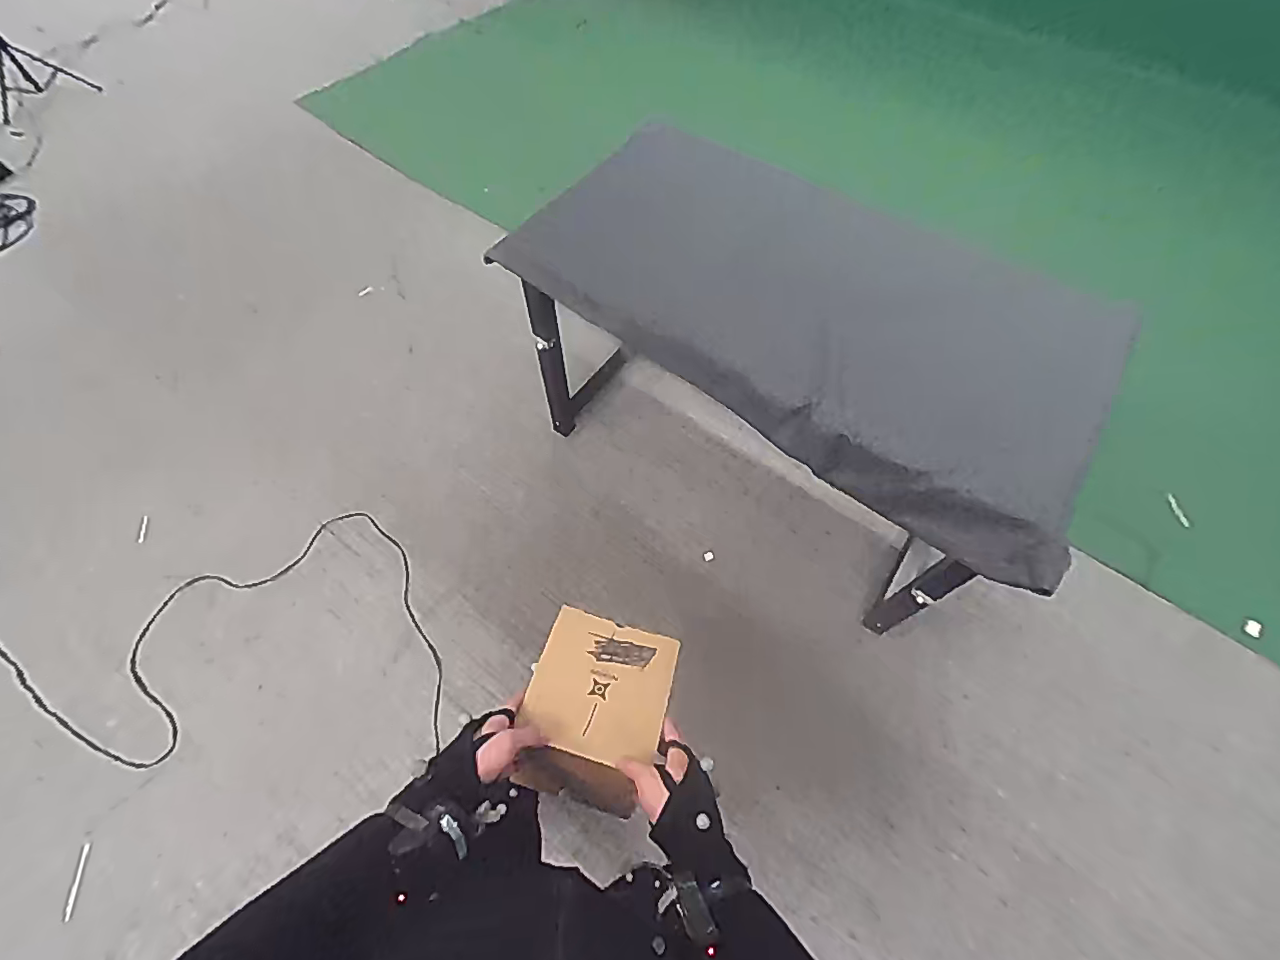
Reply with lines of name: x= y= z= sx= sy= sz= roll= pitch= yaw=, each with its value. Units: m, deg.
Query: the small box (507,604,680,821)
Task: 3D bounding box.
small box: x=-0.060 y=0.297 z=0.690 sx=0.168 sy=0.176 sz=0.179 roll=17 pitch=44 yaw=5
